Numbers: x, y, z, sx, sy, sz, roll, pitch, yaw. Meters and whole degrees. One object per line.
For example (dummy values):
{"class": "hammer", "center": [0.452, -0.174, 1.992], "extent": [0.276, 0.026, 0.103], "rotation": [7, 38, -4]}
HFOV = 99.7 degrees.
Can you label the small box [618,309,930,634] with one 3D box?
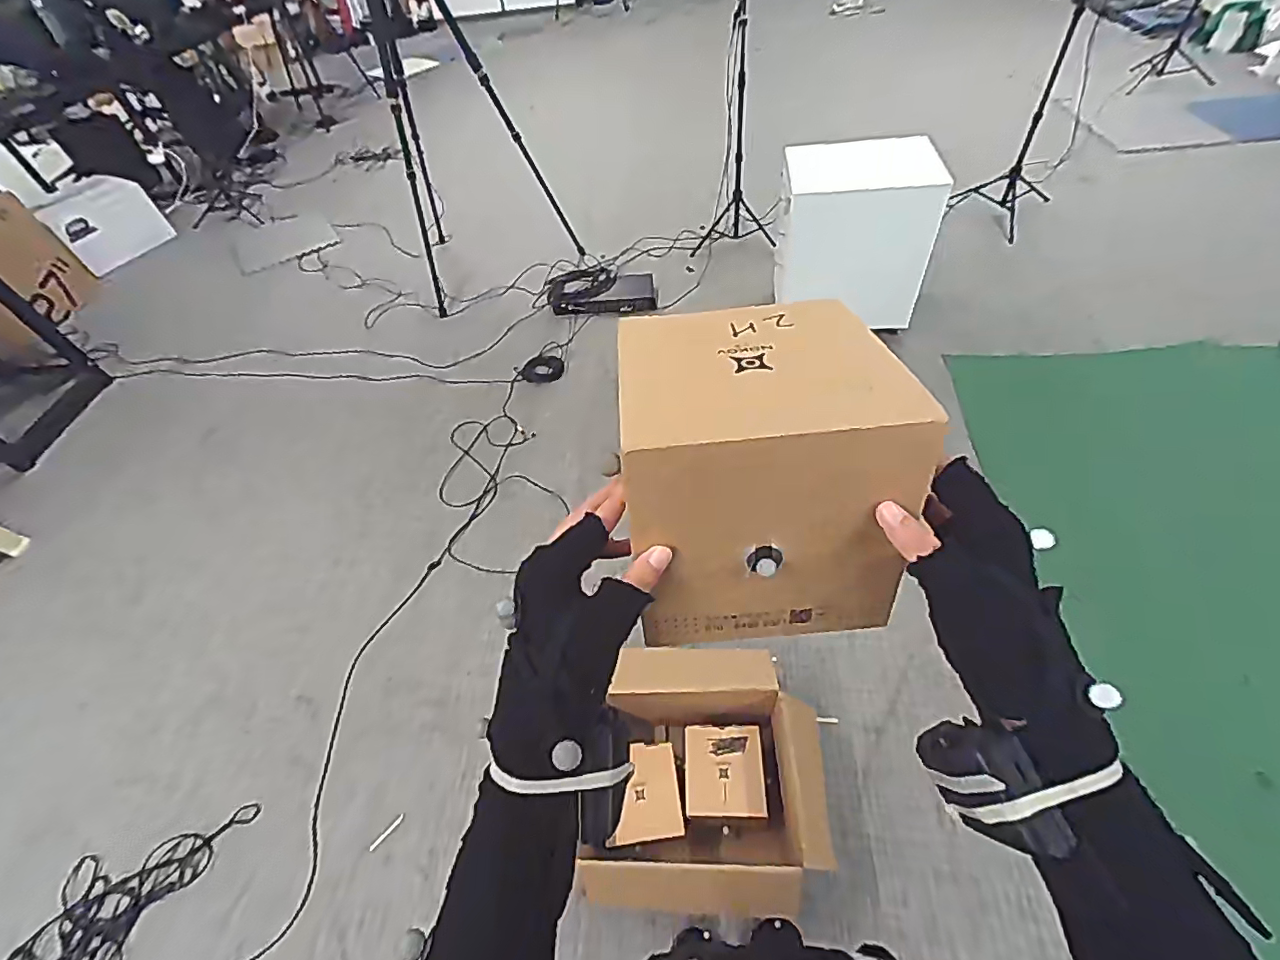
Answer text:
{"class": "small box", "center": [0.075, -0.004, 0.393], "extent": [0.168, 0.176, 0.179], "rotation": [-5, 38, 0]}
